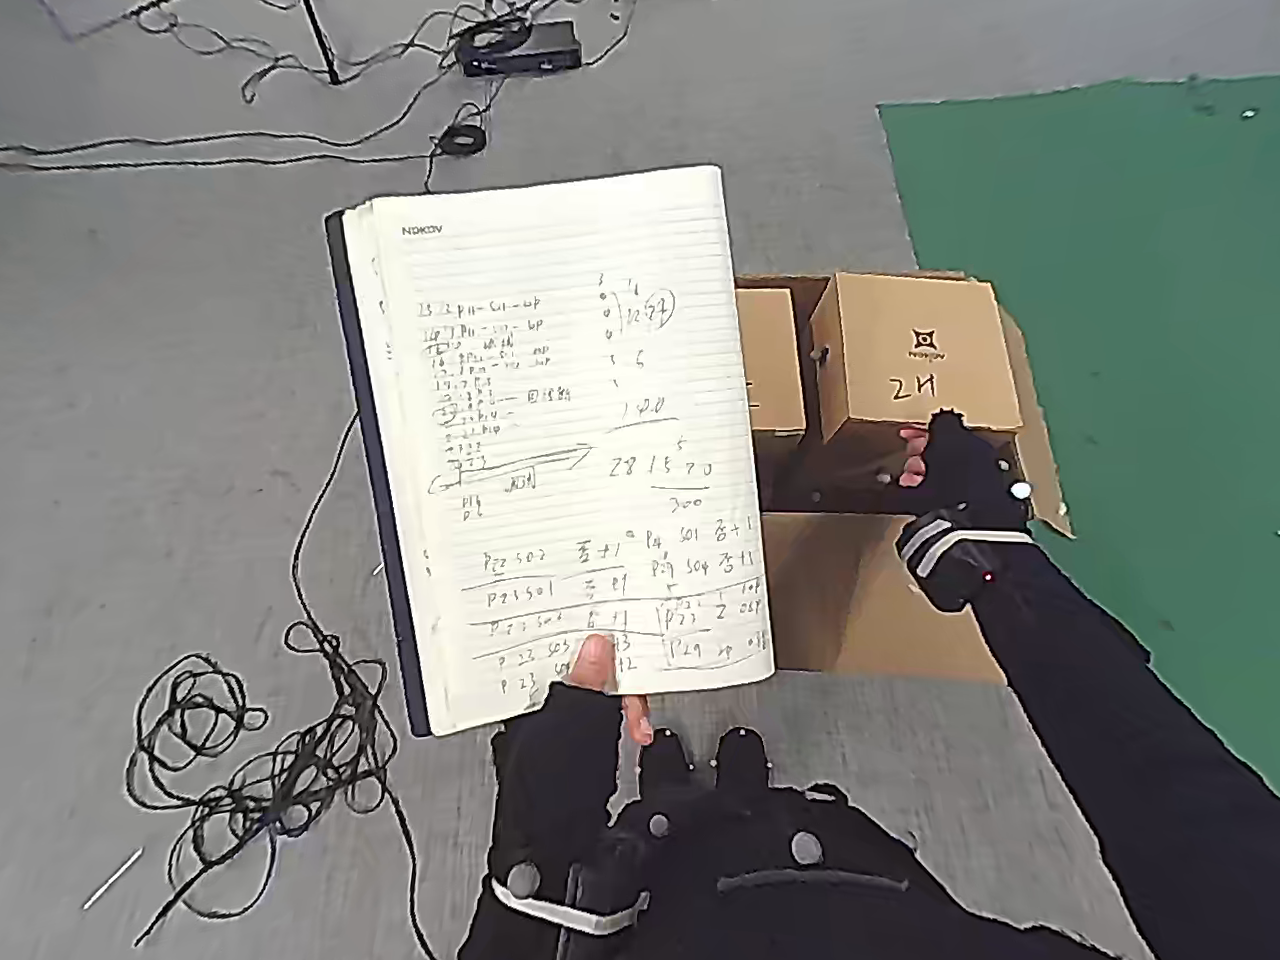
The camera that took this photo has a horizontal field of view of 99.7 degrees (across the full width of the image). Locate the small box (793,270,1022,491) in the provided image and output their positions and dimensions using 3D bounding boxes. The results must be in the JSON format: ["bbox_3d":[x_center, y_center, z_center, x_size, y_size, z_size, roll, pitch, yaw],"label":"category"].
[{"bbox_3d":[0.277,-0.103,0.608,0.168,0.176,0.179,4,68,0],"label":"small box"}]
